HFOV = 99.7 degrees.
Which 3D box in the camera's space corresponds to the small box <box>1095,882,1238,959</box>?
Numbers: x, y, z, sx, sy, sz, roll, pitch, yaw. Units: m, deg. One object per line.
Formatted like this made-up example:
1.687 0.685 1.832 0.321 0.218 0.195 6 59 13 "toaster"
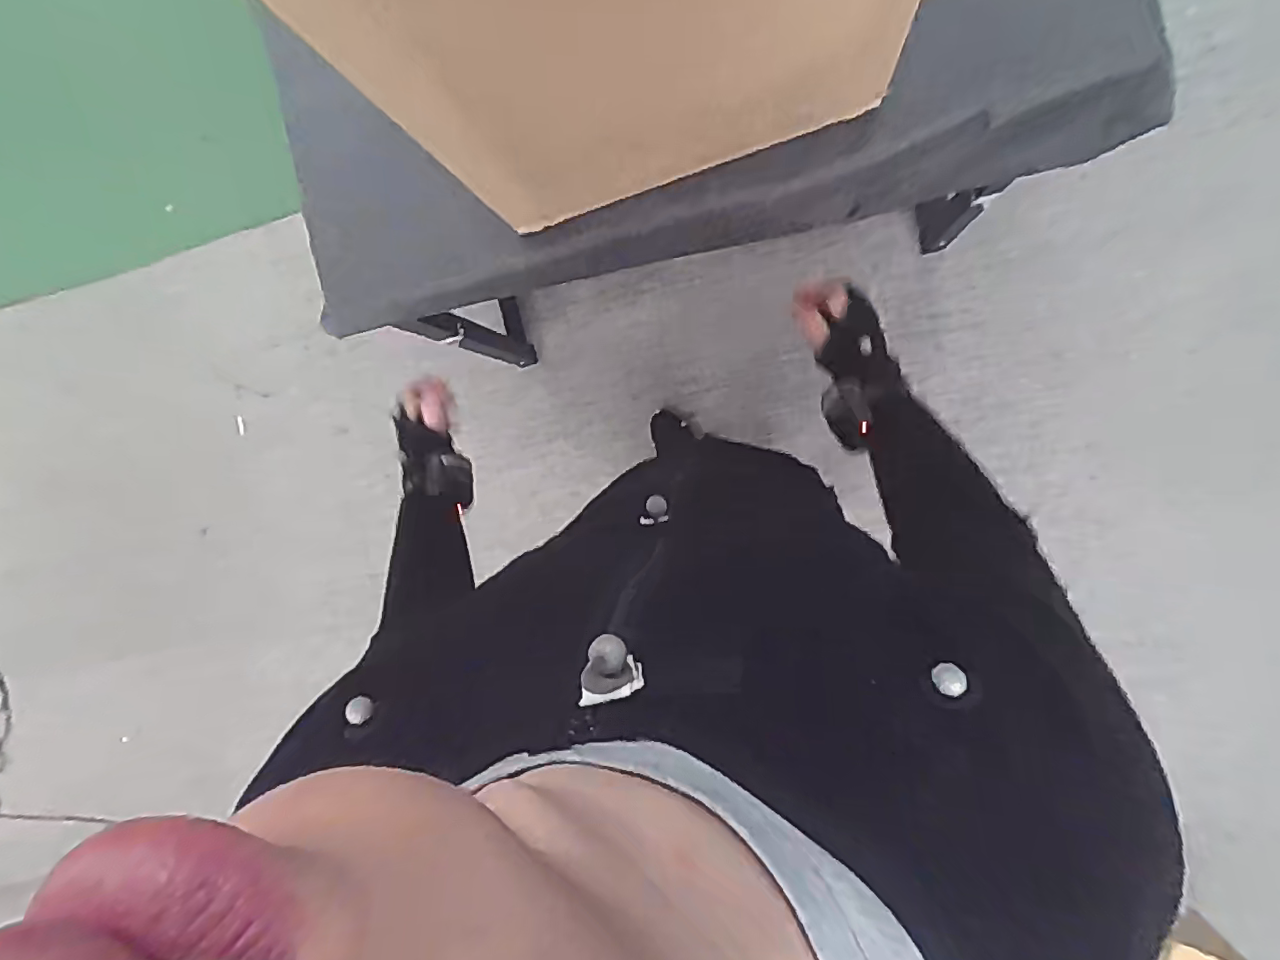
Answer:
1.140 1.032 1.164 0.168 0.176 0.179 19 96 9 "small box"
